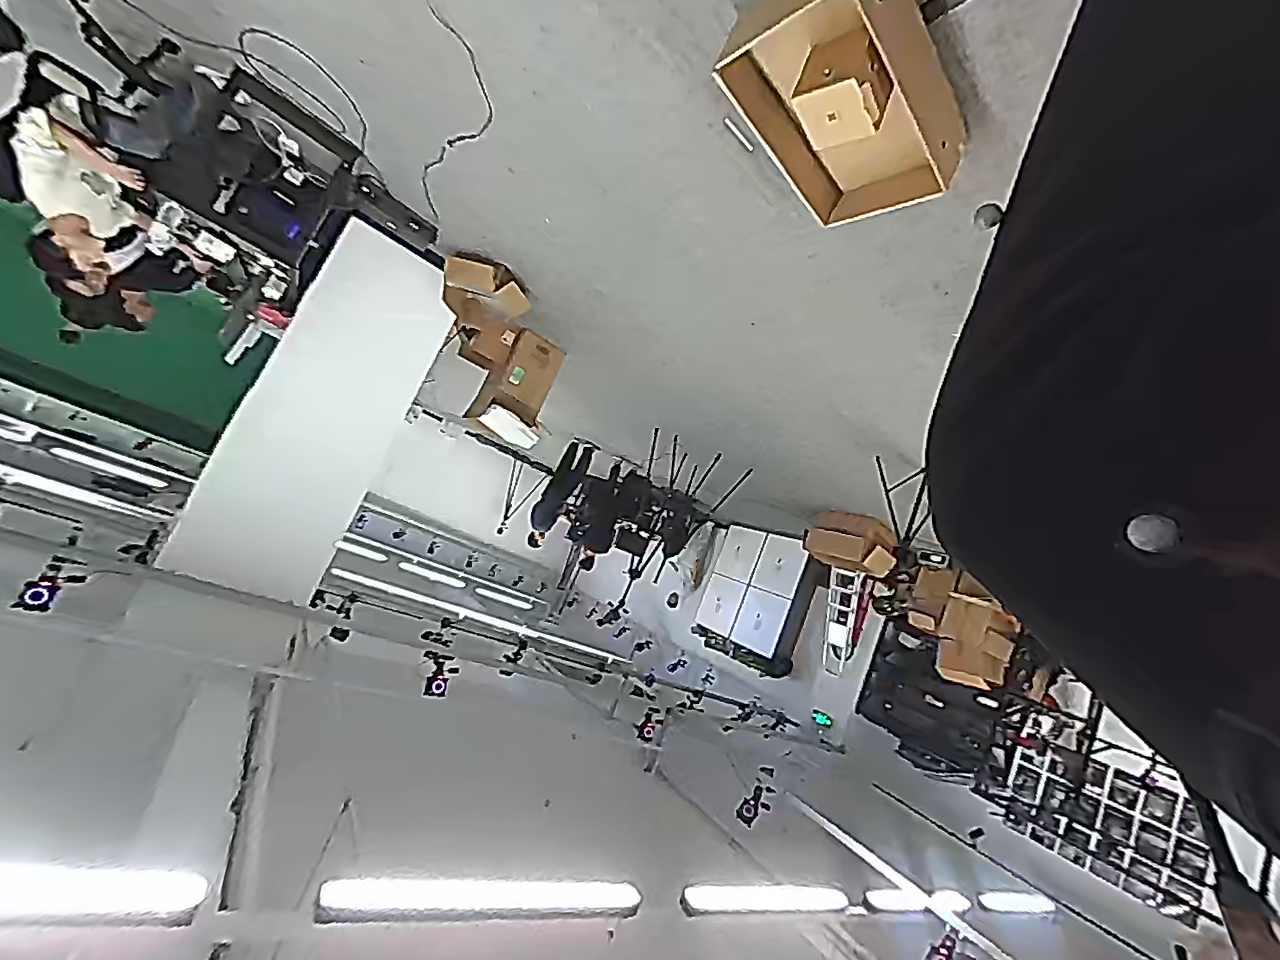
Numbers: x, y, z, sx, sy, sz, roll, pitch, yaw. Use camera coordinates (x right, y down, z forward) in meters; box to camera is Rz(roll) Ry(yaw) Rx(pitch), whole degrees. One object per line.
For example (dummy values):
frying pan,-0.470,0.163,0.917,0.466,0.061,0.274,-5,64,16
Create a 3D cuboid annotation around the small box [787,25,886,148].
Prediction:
small box,0.505,-0.994,1.371,0.179,0.176,0.168,14,168,43
